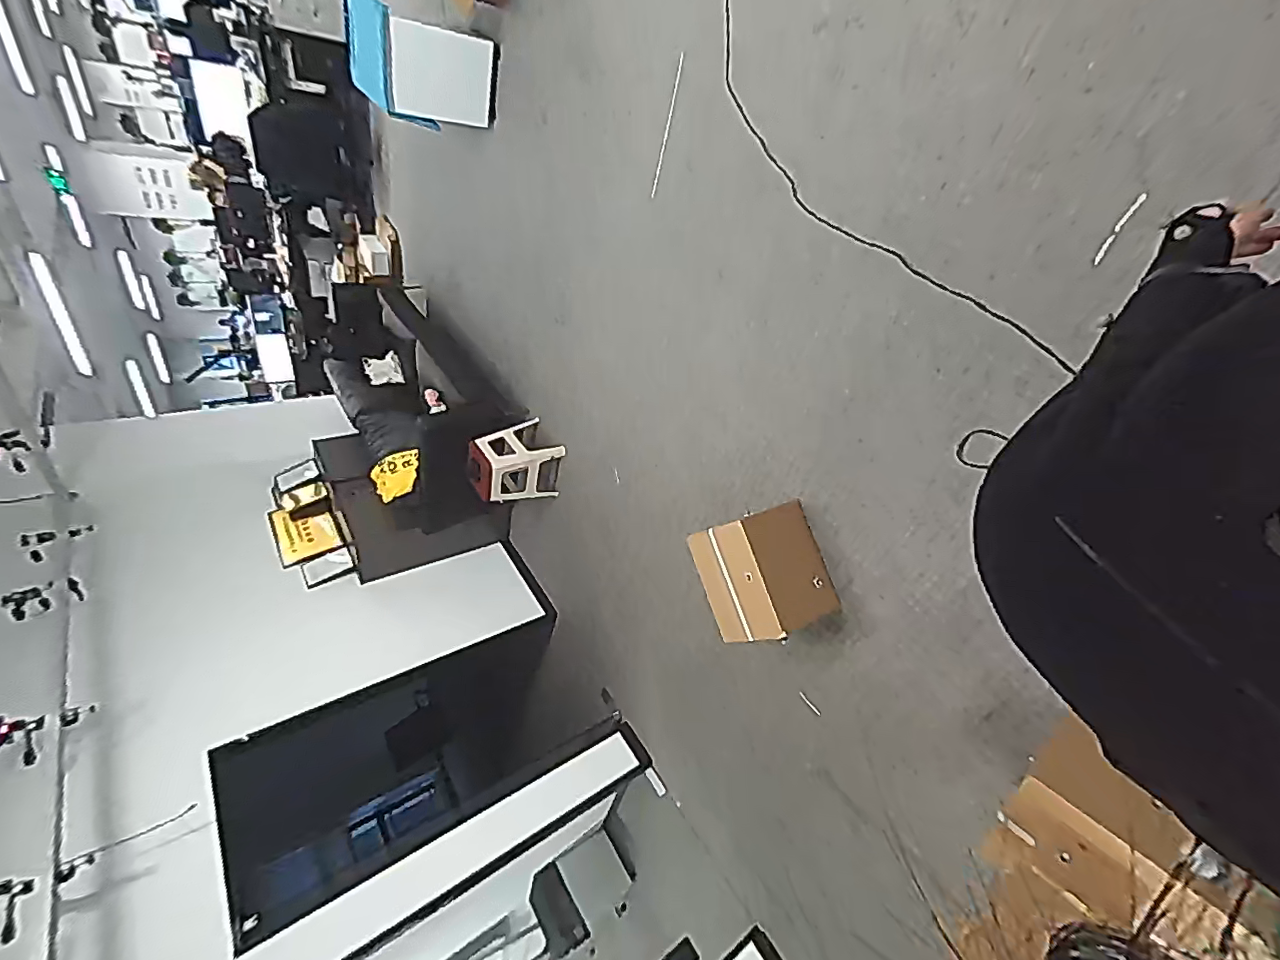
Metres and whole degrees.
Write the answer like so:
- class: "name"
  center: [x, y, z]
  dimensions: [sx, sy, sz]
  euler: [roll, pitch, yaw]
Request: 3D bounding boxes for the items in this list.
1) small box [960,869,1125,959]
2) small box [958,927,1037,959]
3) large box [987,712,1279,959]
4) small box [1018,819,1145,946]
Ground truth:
- class: "small box"
  center: [0.753, 0.884, 1.018]
  dimensions: [0.179, 0.176, 0.168]
  euler: [34, 128, 44]
- class: "small box"
  center: [0.623, 0.922, 0.924]
  dimensions: [0.179, 0.176, 0.168]
  euler: [36, 130, 44]
- class: "large box"
  center: [1.104, 0.825, 1.222]
  dimensions: [0.408, 0.320, 0.320]
  euler: [33, 129, 43]
- class: "small box"
  center: [0.885, 0.848, 1.107]
  dimensions: [0.168, 0.176, 0.179]
  euler: [35, 129, 43]
